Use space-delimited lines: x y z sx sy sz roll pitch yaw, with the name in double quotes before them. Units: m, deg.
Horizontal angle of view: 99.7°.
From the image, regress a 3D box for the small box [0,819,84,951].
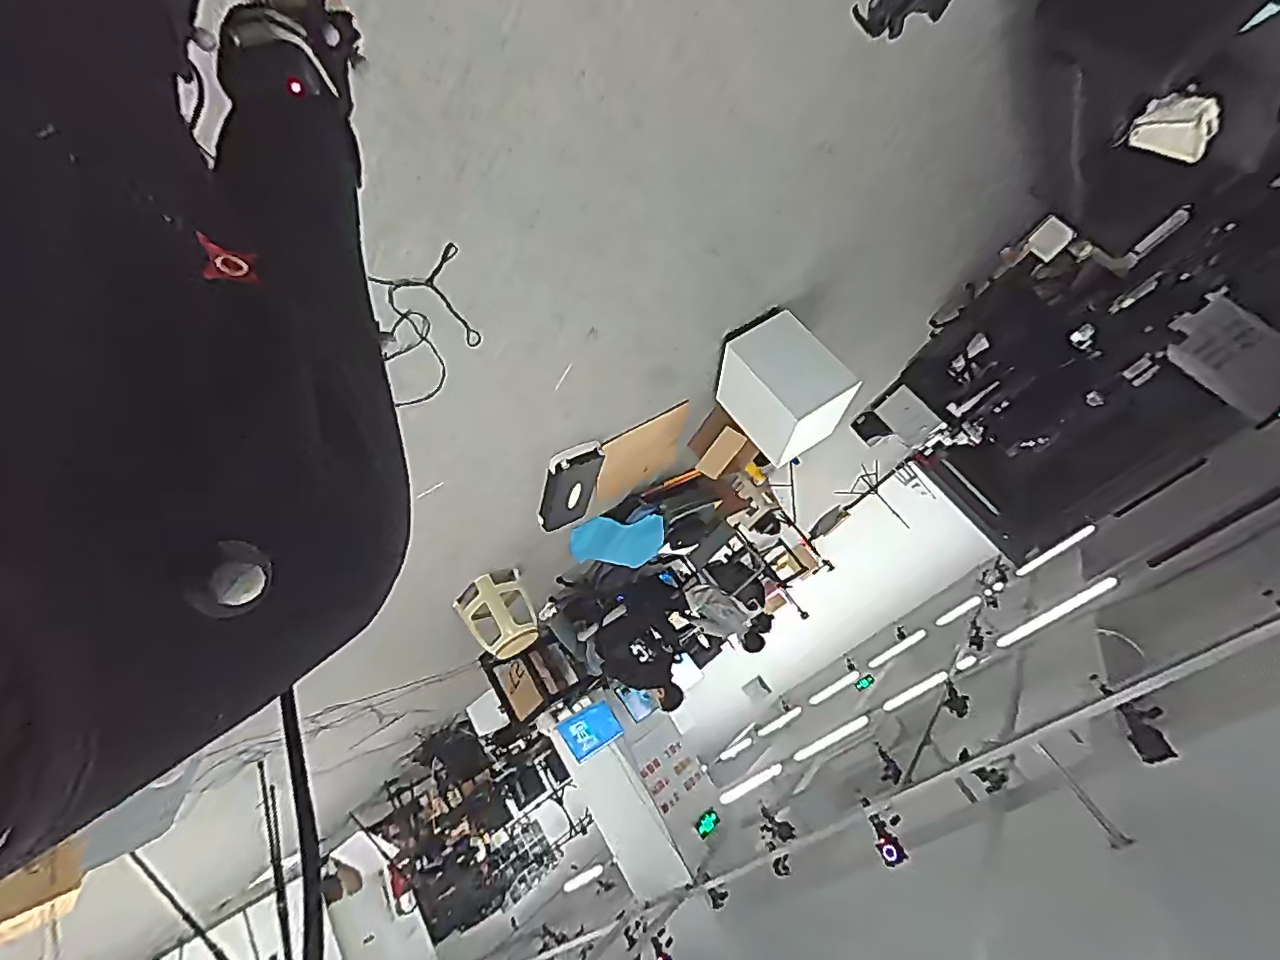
"small box" -1.275 0.833 1.099 0.179 0.176 0.168 -47 157 27
